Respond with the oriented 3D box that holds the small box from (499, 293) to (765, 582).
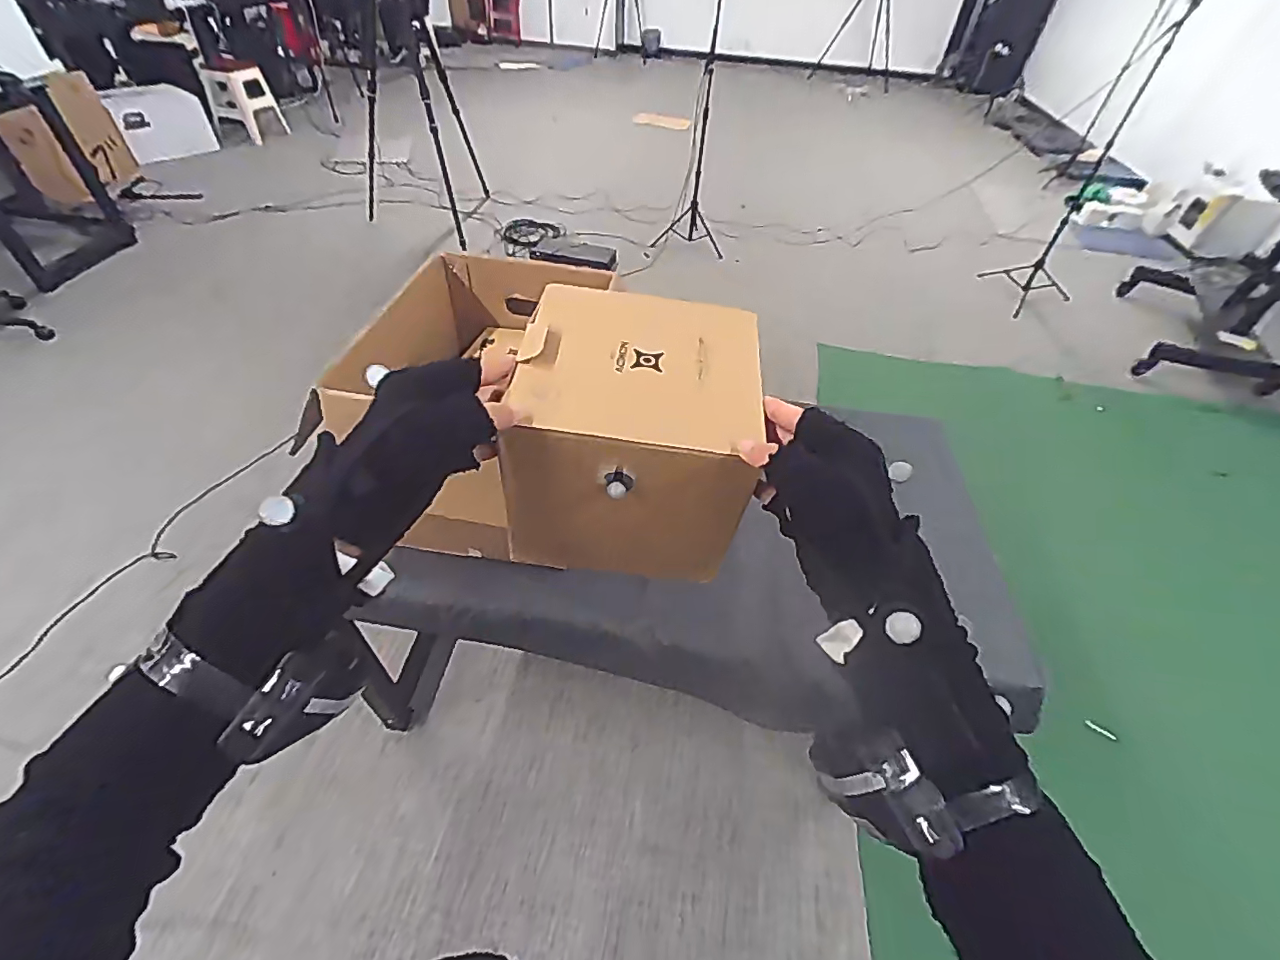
[{"bbox_3d":[-0.006,-0.030,0.456,0.179,0.176,0.168,8,50,-2],"label":"small box"}]
